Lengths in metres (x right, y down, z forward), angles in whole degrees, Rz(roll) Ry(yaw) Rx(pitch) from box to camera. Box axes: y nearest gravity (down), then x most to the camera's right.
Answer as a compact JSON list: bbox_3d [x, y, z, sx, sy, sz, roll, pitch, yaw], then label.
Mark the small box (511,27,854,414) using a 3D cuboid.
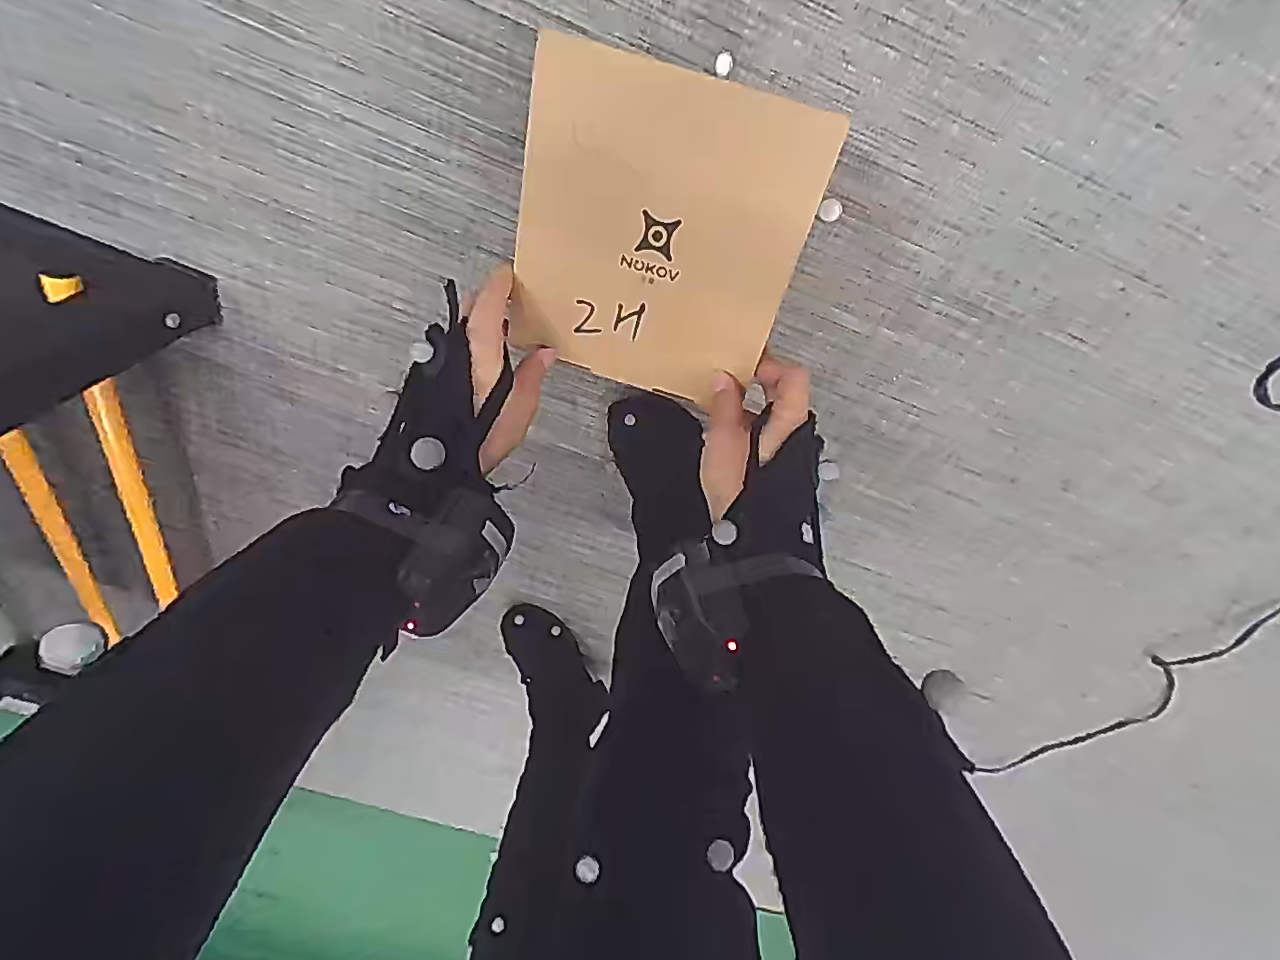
[{"bbox_3d":[0.025,-0.180,0.385,0.168,0.176,0.179,18,125,2],"label":"small box"}]
